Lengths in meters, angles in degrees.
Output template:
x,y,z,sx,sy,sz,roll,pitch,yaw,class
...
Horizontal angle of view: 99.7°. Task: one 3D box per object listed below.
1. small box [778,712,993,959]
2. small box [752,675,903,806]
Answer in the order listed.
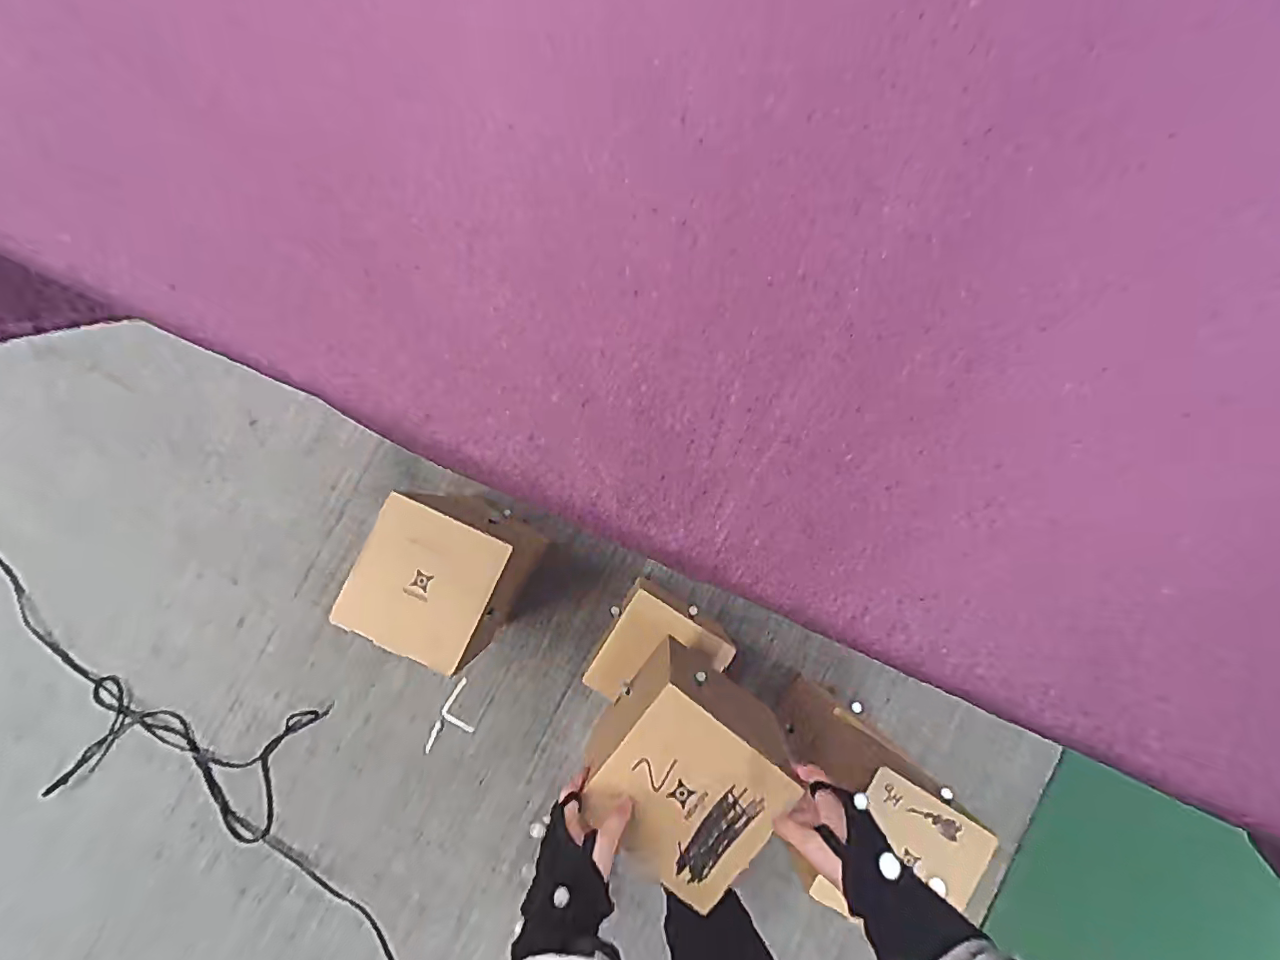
x,y,z,sx,sy,sz,roll,pitch,yaw,class
0.303,0.450,0.714,0.168,0.176,0.179,33,88,0,small box
0.301,0.454,0.880,0.168,0.176,0.179,36,86,2,small box
